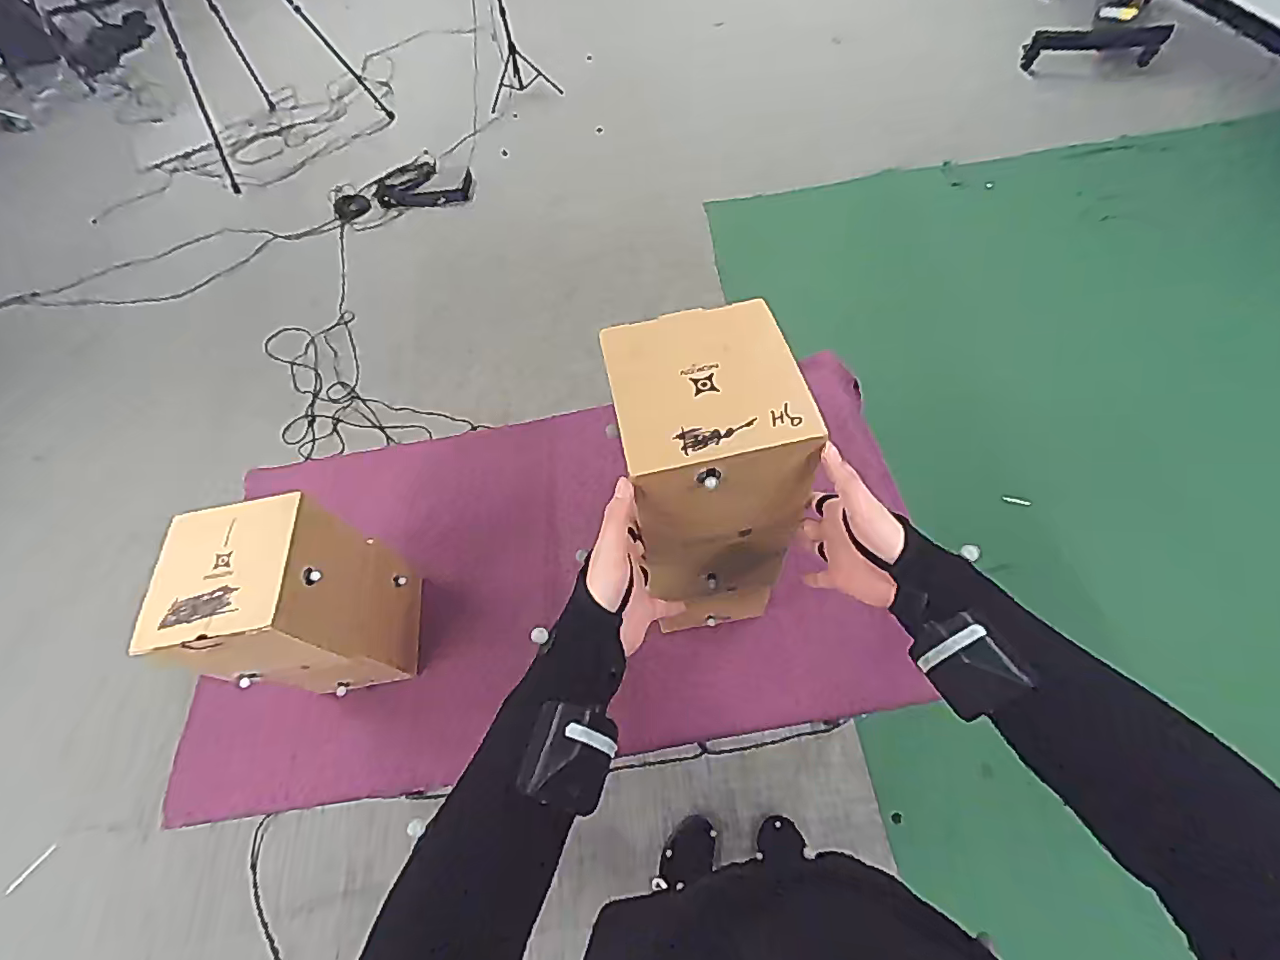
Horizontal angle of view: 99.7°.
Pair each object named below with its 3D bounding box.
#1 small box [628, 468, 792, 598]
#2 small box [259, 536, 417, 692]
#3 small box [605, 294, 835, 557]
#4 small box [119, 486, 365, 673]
[{"bbox_3d":[0.079,0.038,0.676,0.168,0.176,0.179,-9,59,1],"label":"small box"},{"bbox_3d":[-0.459,0.209,0.827,0.168,0.176,0.179,-10,59,1],"label":"small box"},{"bbox_3d":[0.066,-0.049,0.533,0.168,0.176,0.179,-12,57,-1],"label":"small box"},{"bbox_3d":[-0.475,0.134,0.682,0.168,0.176,0.179,-10,58,1],"label":"small box"}]
